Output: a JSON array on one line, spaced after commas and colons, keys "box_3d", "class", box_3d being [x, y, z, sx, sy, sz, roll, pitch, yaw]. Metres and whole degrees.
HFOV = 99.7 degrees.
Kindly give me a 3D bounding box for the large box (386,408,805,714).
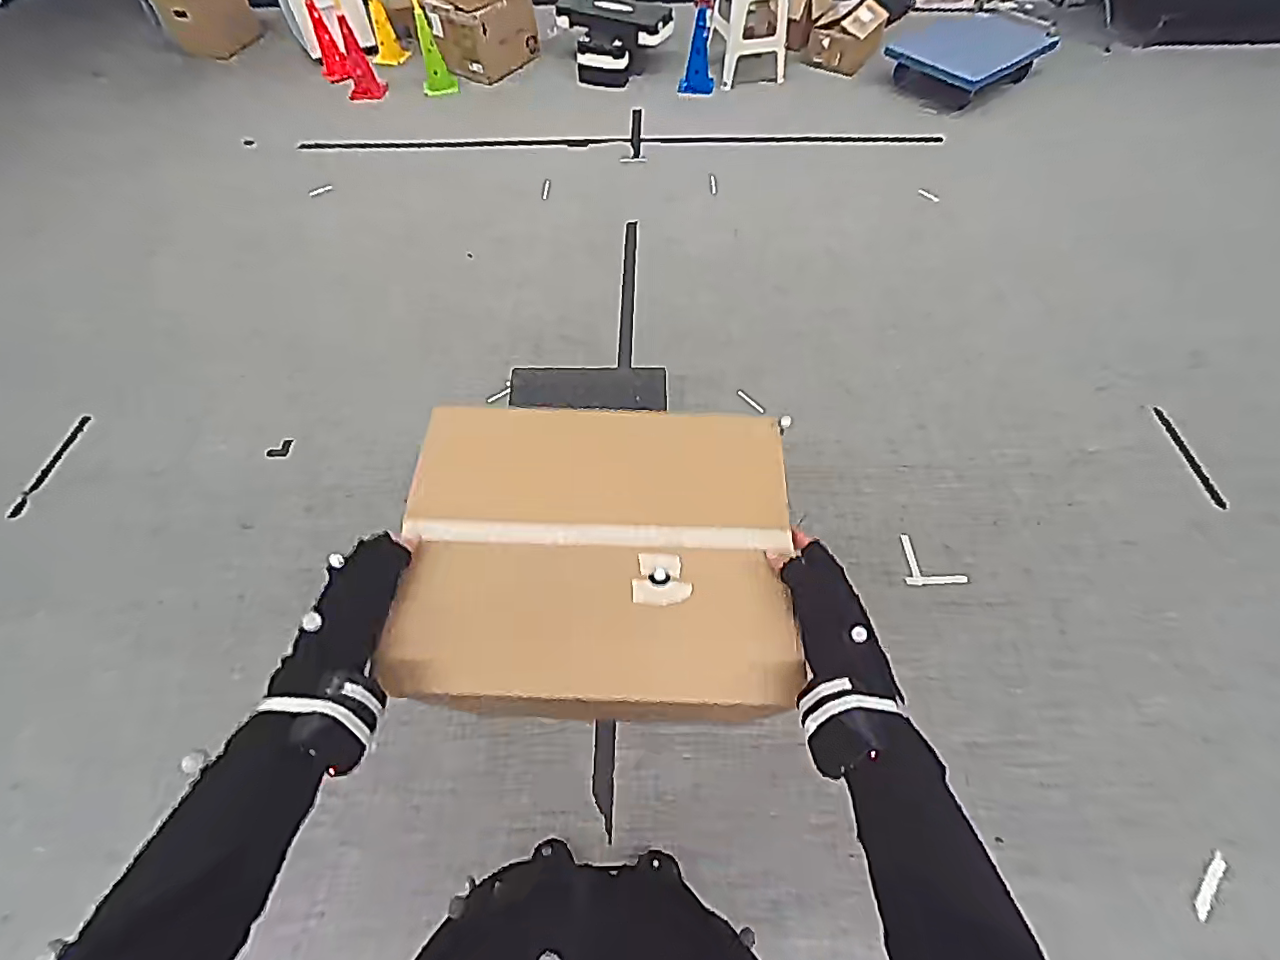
[{"box_3d": [-0.042, 0.124, 0.705, 0.408, 0.320, 0.320, 2, 63, 0], "class": "large box"}]
